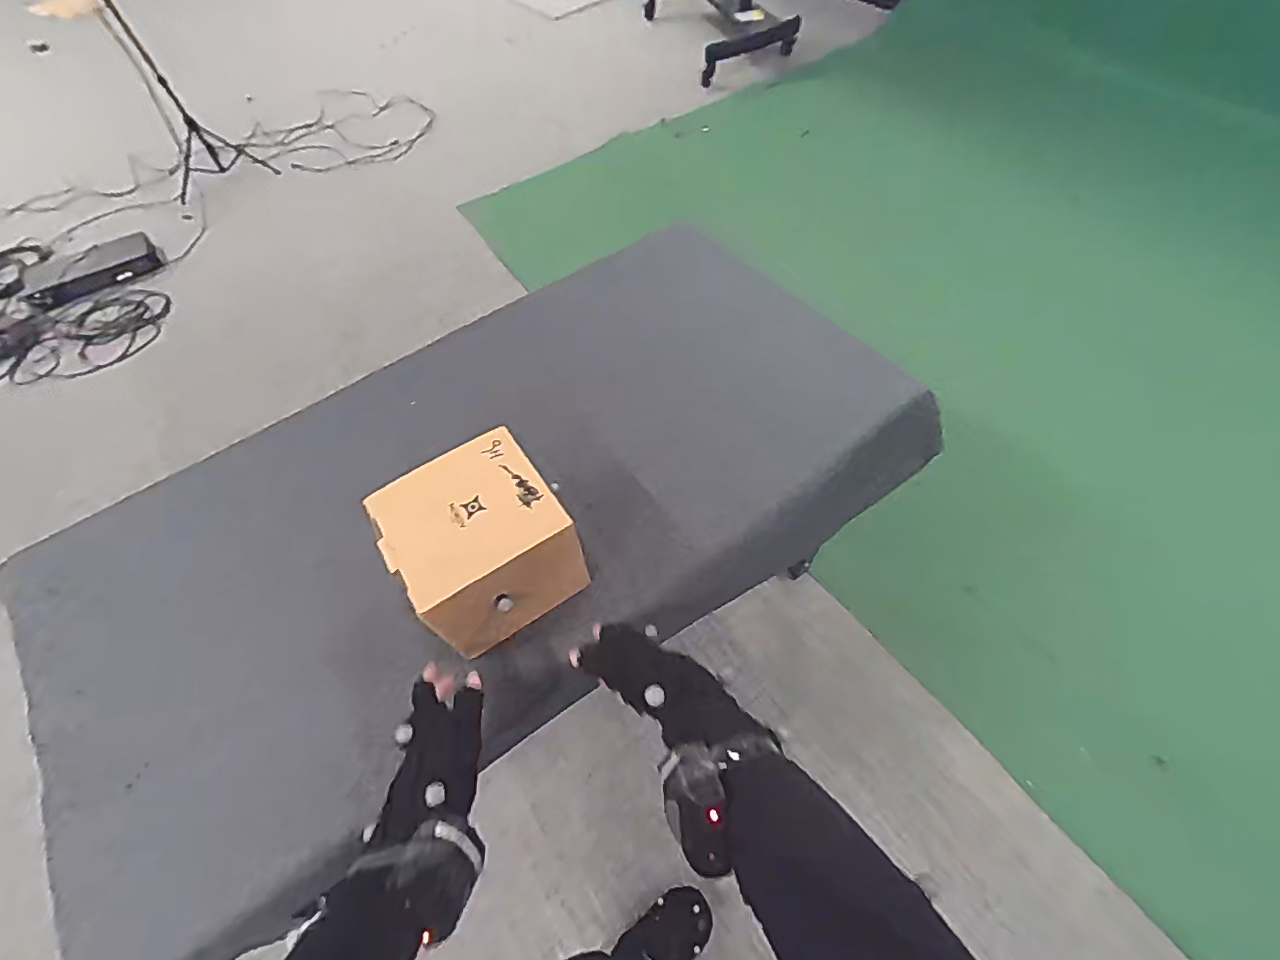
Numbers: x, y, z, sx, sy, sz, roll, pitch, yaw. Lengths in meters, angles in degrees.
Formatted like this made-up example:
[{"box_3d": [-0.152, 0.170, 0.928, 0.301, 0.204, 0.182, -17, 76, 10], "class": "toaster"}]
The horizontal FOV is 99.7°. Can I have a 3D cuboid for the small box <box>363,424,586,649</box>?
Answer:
[{"box_3d": [-0.185, 0.073, 0.645, 0.179, 0.176, 0.168, -32, 61, -14], "class": "small box"}]
